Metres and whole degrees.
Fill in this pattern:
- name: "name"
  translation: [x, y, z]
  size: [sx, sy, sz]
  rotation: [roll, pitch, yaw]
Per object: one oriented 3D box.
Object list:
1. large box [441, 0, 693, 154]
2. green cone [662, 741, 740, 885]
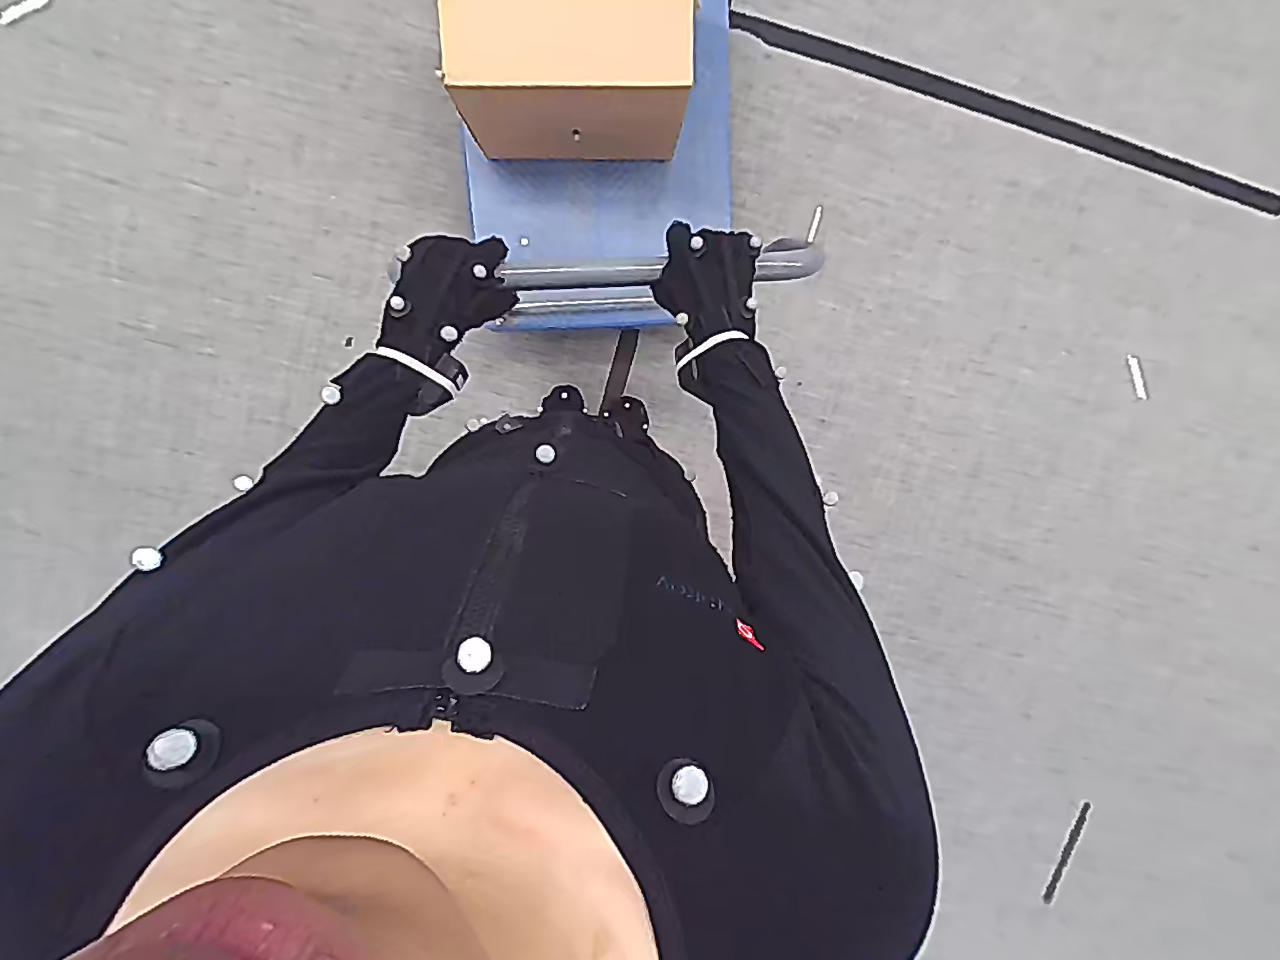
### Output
- name: "large box"
  translation: [-0.120, -0.823, 0.992]
  size: [0.408, 0.320, 0.320]
  rotation: [-1, 101, -2]
- name: "green cone"
  translation: [0.199, 0.934, 1.484]
  size: [0.202, 0.368, 0.200]
  rotation: [18, 99, -8]
